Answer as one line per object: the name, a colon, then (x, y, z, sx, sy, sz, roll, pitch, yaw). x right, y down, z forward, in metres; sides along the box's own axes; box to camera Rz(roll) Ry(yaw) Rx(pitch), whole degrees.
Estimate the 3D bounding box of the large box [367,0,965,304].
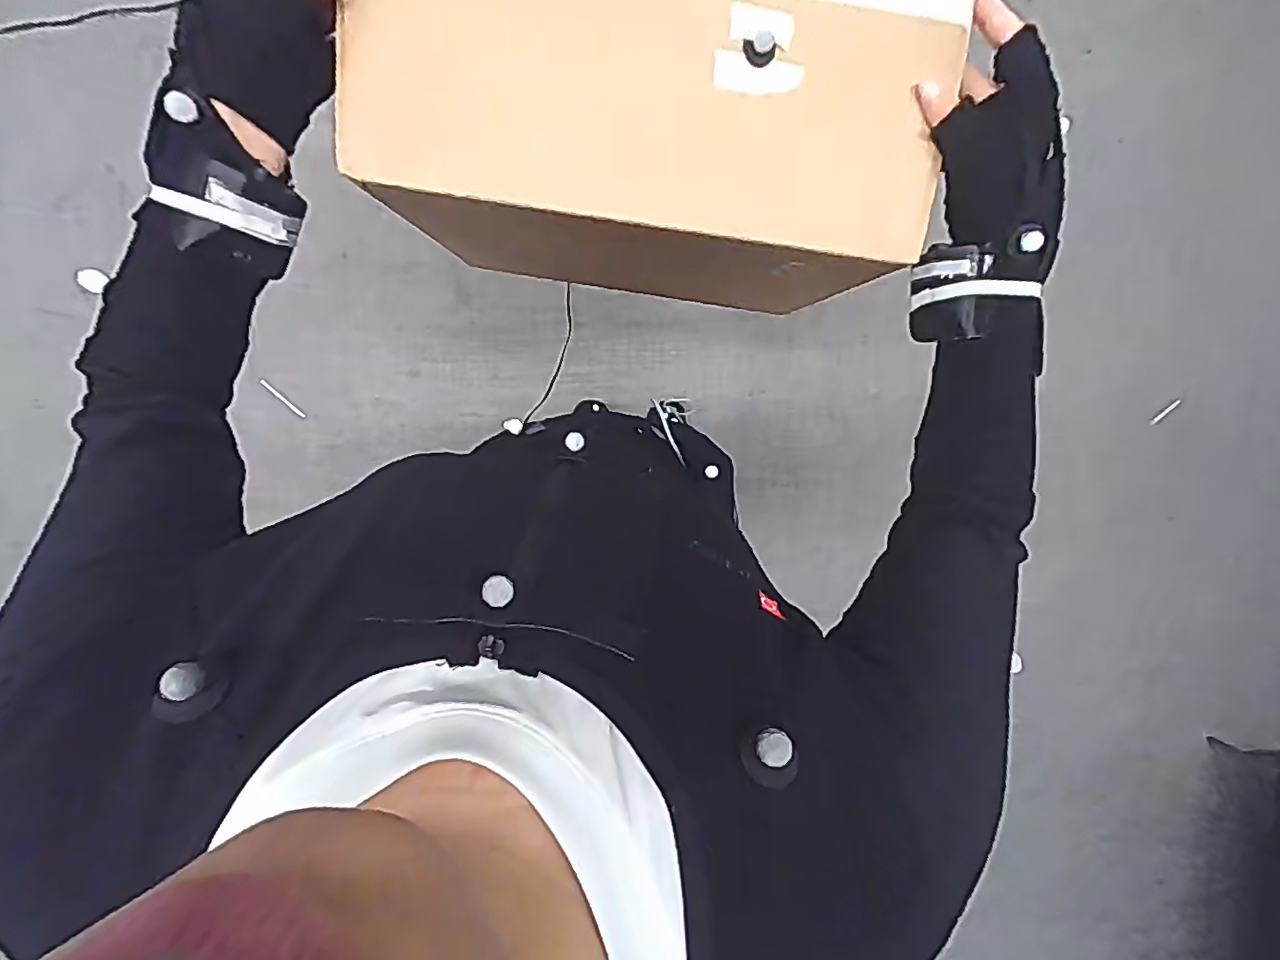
large box: (0.017, -0.364, 0.505, 0.408, 0.320, 0.320, 7, 101, -3)
